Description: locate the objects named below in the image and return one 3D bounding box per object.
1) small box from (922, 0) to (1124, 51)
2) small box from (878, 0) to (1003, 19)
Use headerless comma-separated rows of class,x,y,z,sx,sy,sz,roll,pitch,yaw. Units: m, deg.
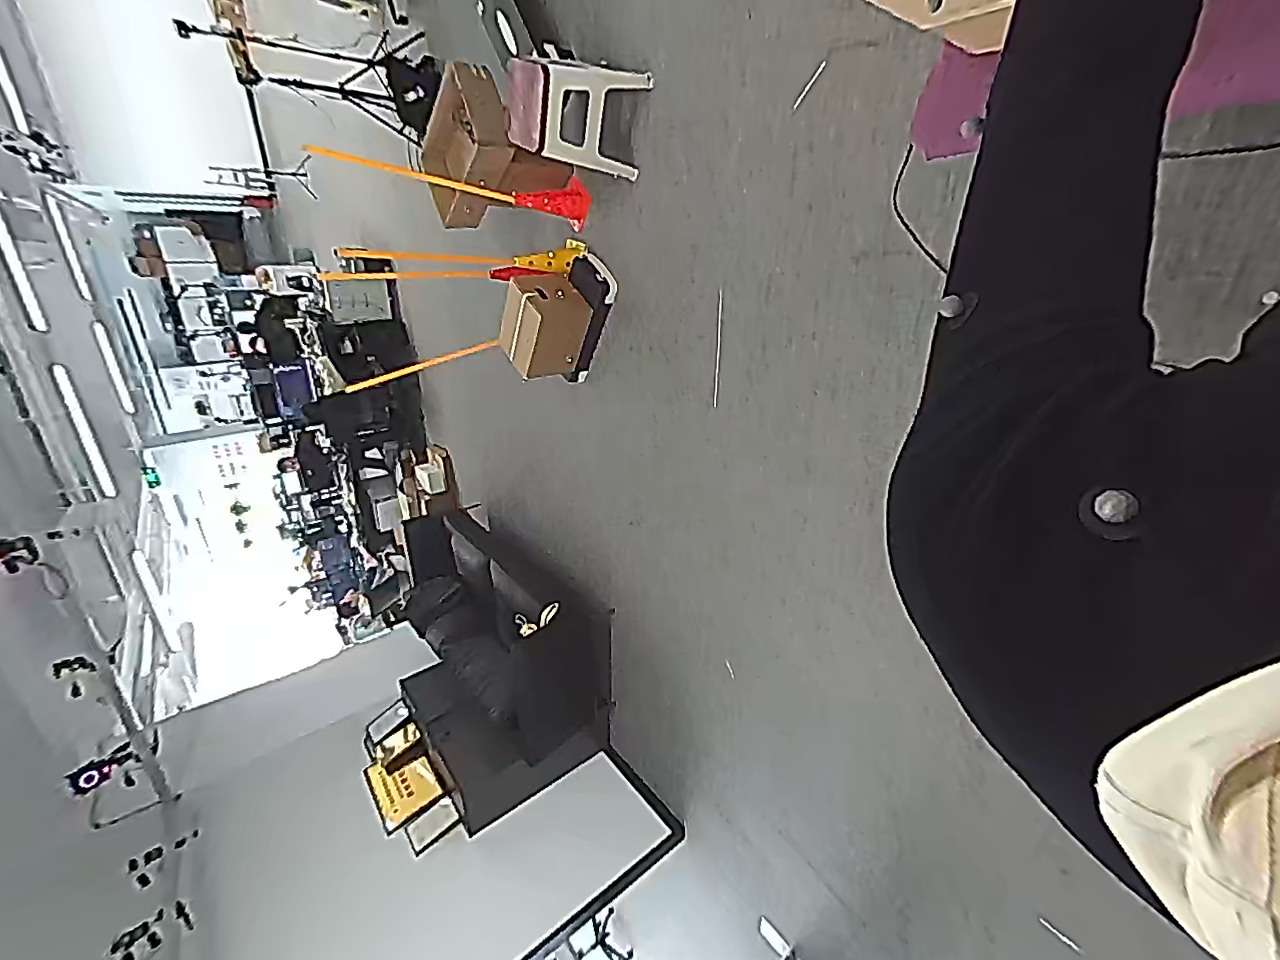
small box,0.459,-0.634,0.620,0.168,0.176,0.179,27,124,46
small box,0.335,-0.588,0.526,0.168,0.176,0.179,28,124,46
